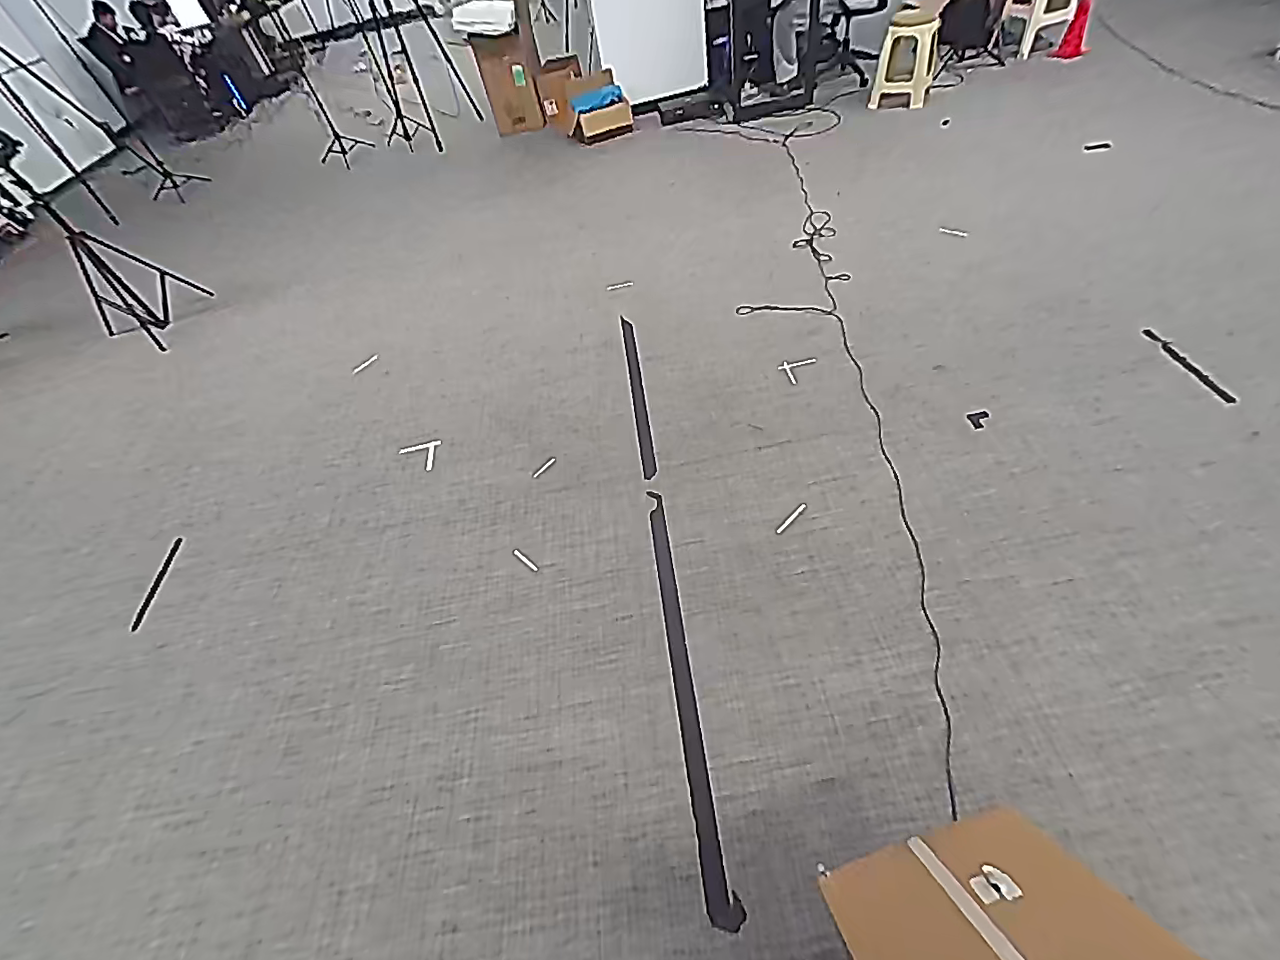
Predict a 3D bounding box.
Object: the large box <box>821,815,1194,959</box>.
[{"bbox_3d":[0.465,0.681,0.609,0.320,0.408,0.320,-19,84,-1],"label":"large box"}]
